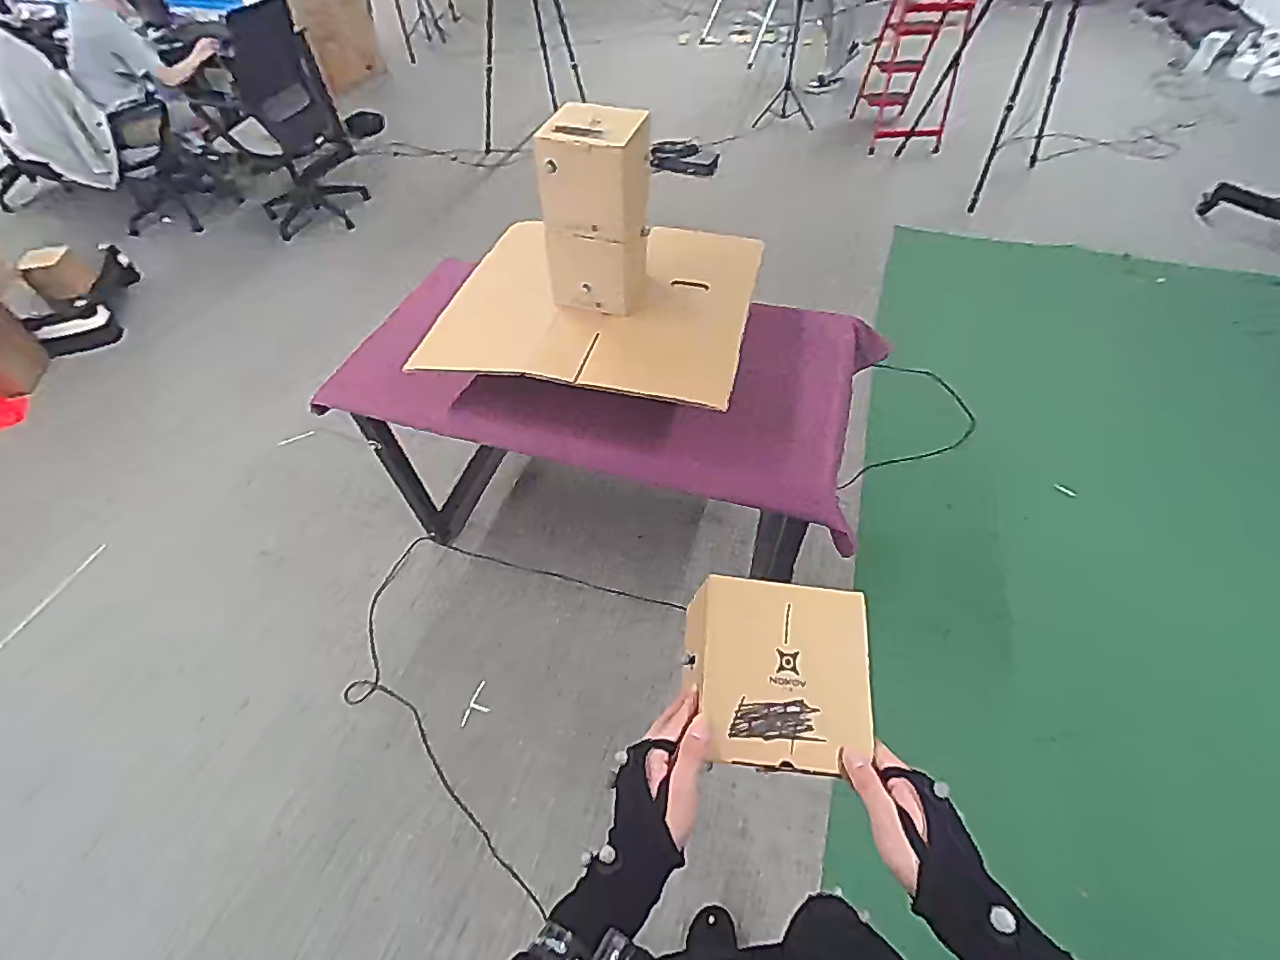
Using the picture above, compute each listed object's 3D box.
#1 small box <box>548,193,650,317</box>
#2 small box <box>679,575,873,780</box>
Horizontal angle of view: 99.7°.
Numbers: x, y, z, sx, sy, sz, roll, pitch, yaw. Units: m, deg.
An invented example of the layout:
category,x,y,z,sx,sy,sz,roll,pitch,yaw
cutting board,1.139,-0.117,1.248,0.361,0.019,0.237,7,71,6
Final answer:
category,x,y,z,sx,sy,sz,roll,pitch,yaw
small box,-0.082,-0.480,1.157,0.168,0.176,0.179,13,54,10
small box,0.136,0.218,0.597,0.168,0.176,0.179,6,65,-1
